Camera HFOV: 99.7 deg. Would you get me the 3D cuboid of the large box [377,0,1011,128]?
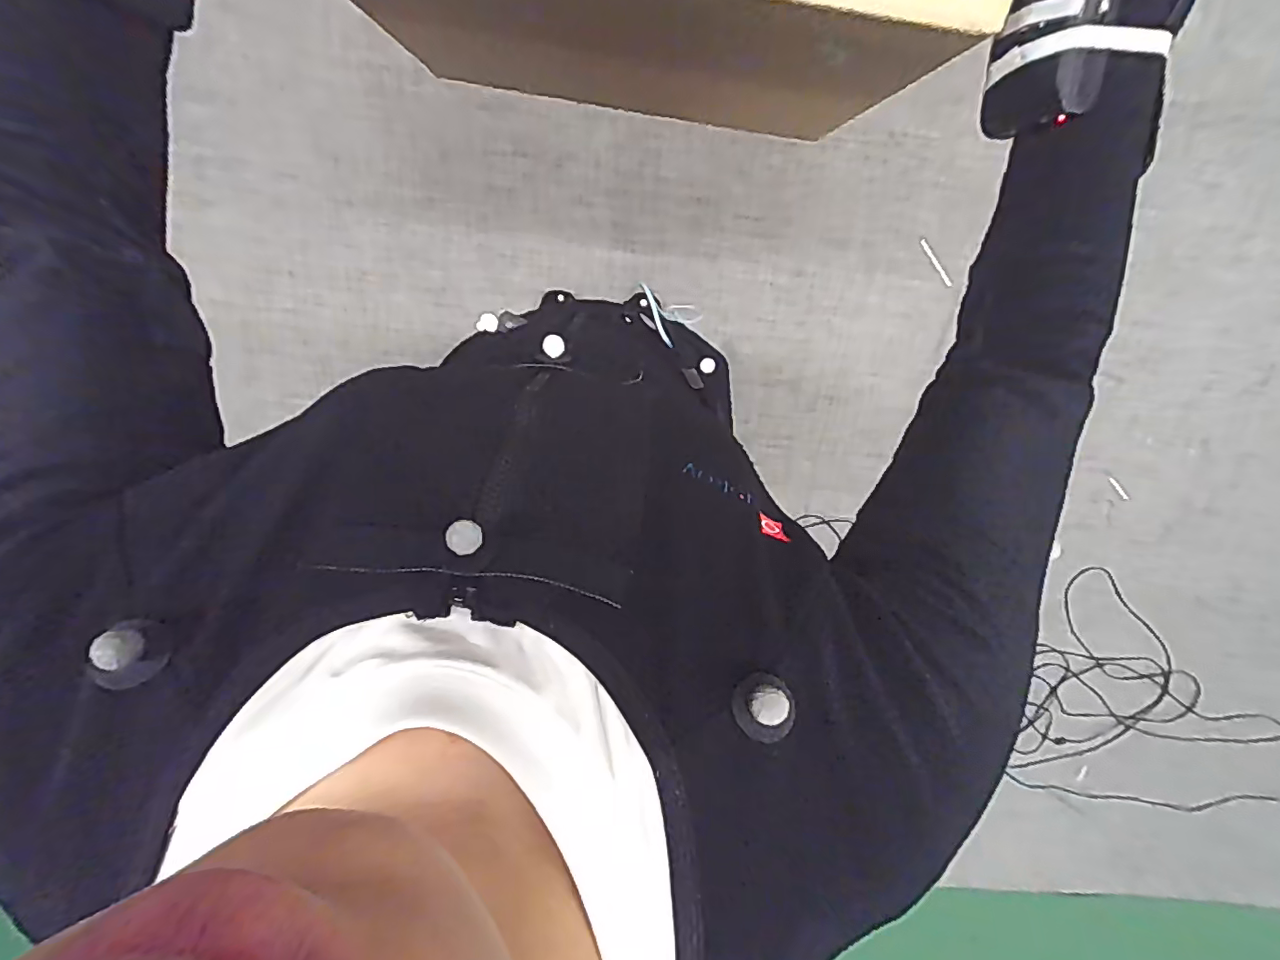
[{"bbox_3d":[0.020,-0.472,0.366,0.408,0.320,0.320,6,113,-5],"label":"large box"}]
